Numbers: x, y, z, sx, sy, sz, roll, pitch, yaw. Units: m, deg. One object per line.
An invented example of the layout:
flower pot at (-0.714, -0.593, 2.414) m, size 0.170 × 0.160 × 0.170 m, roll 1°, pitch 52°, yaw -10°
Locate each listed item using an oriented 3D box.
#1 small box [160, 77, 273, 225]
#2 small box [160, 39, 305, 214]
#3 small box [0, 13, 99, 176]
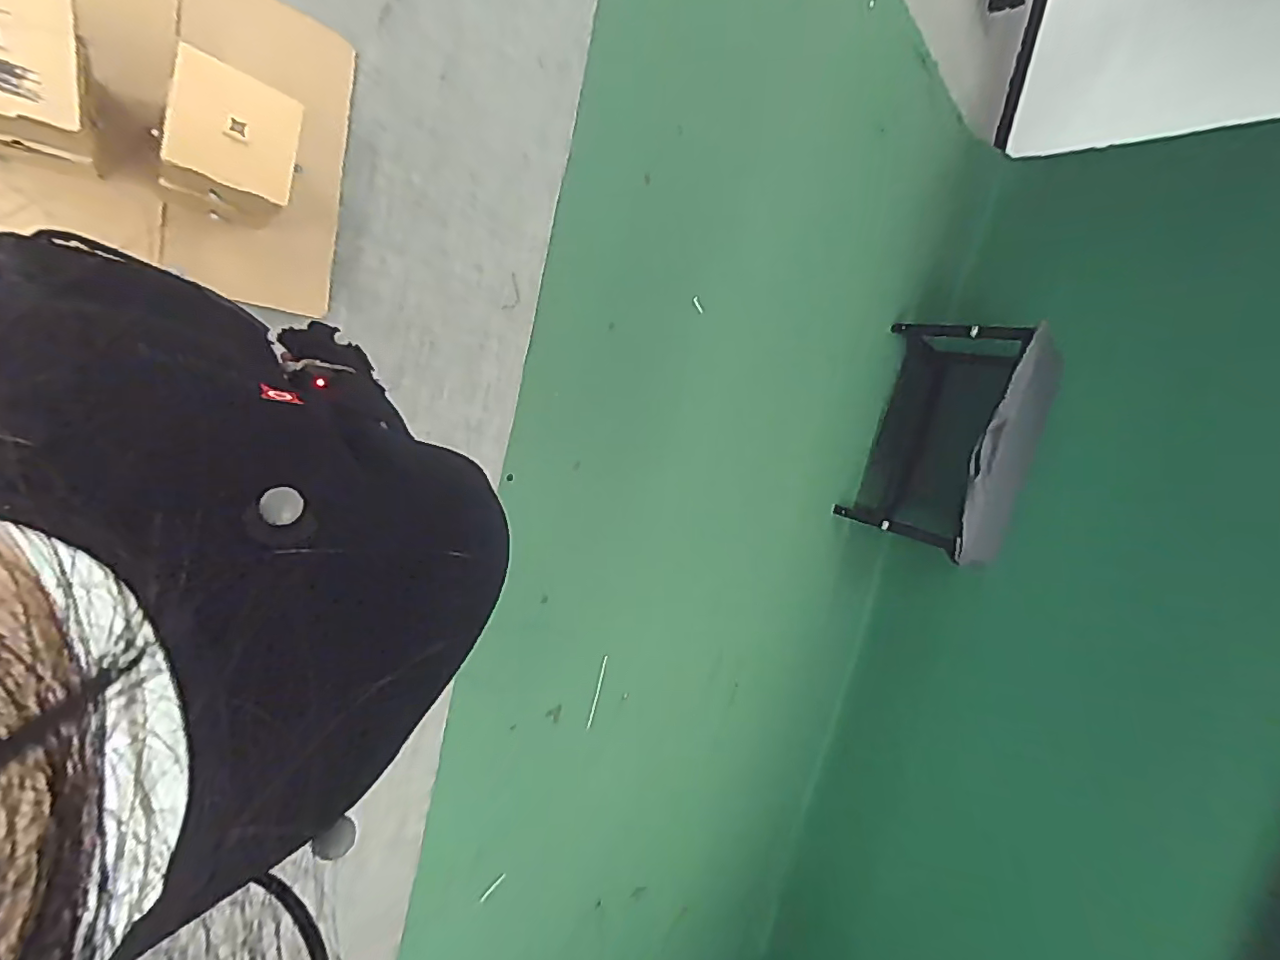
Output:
small box at (-0.802, -0.610, 1.032) m, size 0.168 × 0.176 × 0.179 m, roll 4°, pitch 101°, yaw -42°
small box at (-0.693, -0.579, 0.916) m, size 0.168 × 0.176 × 0.179 m, roll 8°, pitch 99°, yaw -43°
small box at (-0.984, -0.611, 0.860) m, size 0.168 × 0.176 × 0.179 m, roll -2°, pitch 105°, yaw -42°
